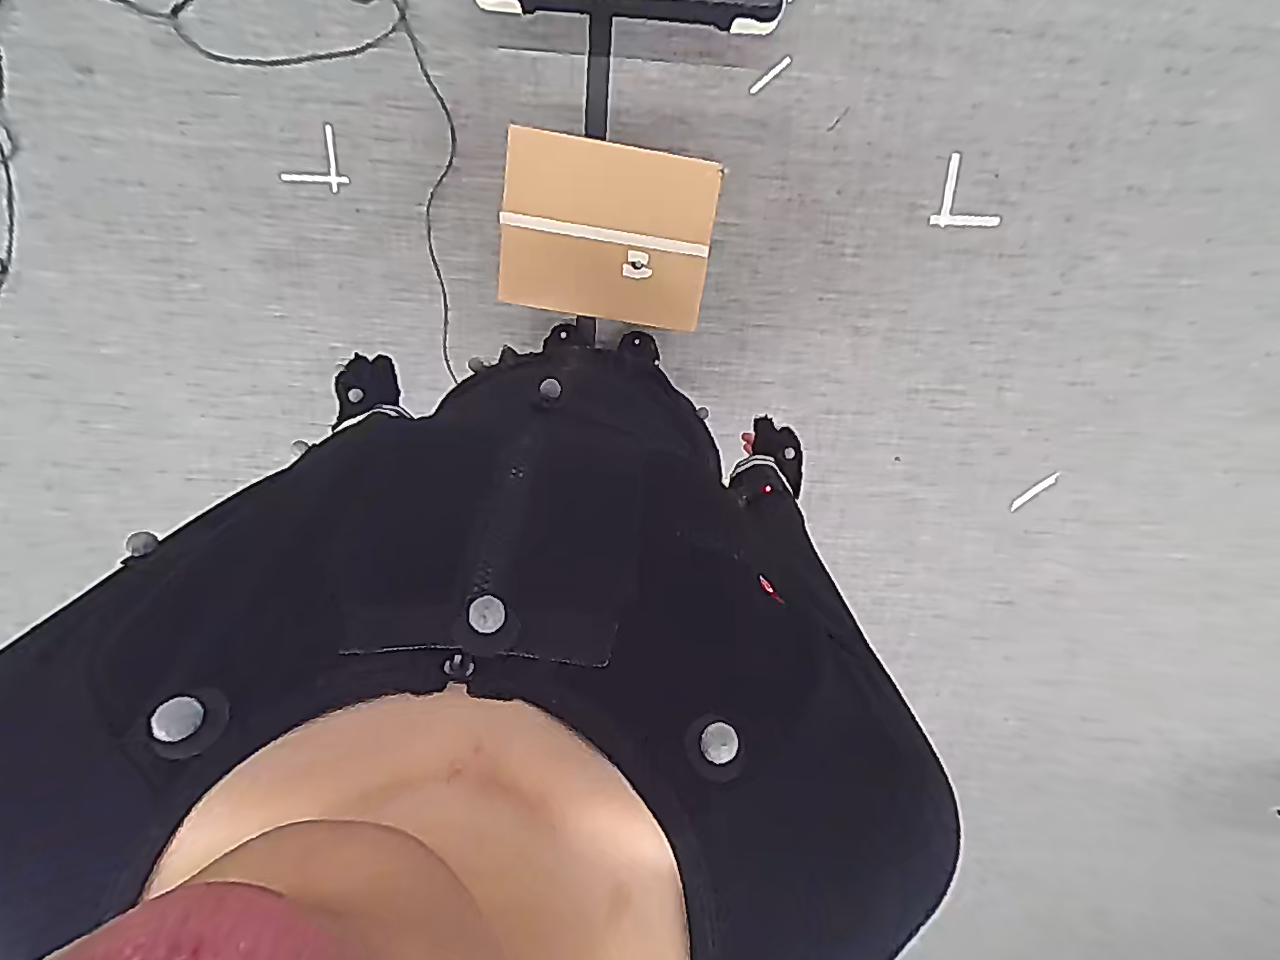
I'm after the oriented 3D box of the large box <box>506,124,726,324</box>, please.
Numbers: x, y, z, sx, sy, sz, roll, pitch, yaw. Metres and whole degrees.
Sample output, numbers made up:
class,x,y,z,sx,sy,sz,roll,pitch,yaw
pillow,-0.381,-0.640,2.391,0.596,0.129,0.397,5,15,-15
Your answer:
class,x,y,z,sx,sy,sz,roll,pitch,yaw
large box,-0.062,-0.529,1.186,0.408,0.320,0.320,7,108,-5
